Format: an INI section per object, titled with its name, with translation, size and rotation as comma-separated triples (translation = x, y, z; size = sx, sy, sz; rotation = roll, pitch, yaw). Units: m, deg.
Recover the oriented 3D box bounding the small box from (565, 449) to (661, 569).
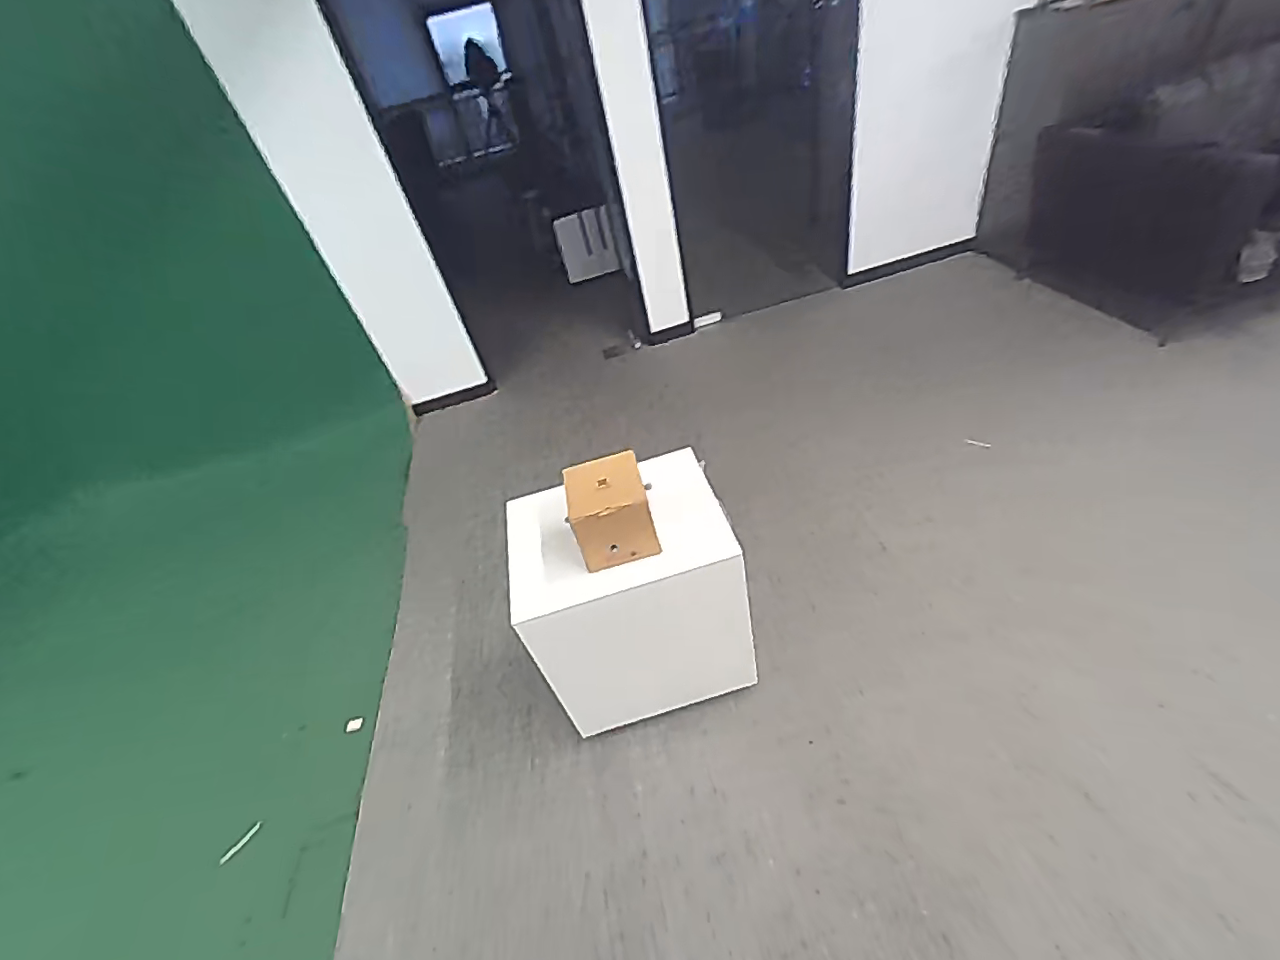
[small box]
translation = -0.060, 0.064, 1.188
size = 0.168, 0.176, 0.179
rotation = -16, 39, -1
